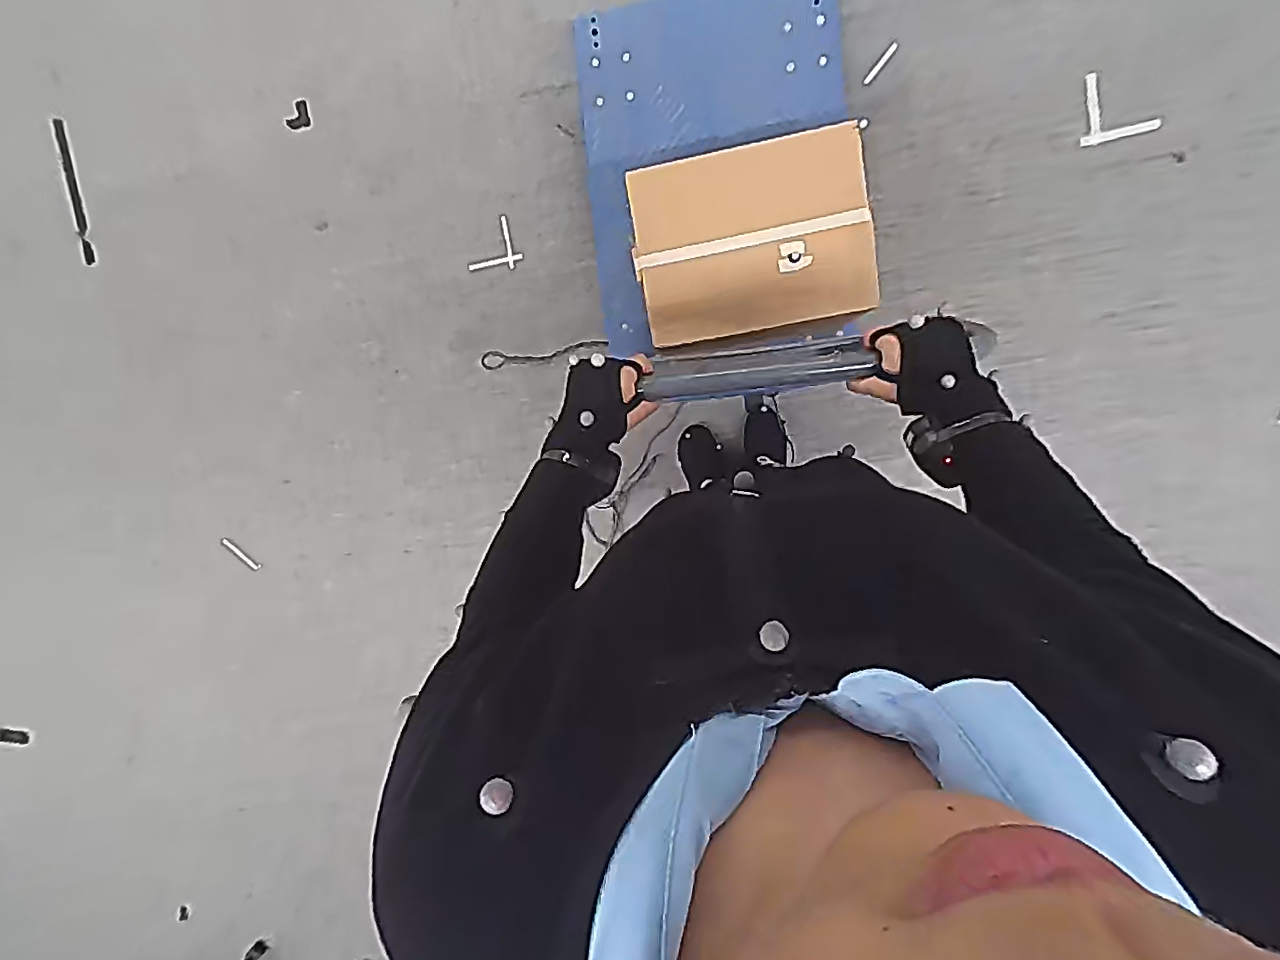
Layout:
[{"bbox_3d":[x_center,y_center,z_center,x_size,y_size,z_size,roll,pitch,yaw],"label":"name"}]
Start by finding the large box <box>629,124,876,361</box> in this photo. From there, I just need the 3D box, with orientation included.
[{"bbox_3d":[0.211,-0.446,1.111,0.408,0.320,0.320,-9,97,6],"label":"large box"}]
